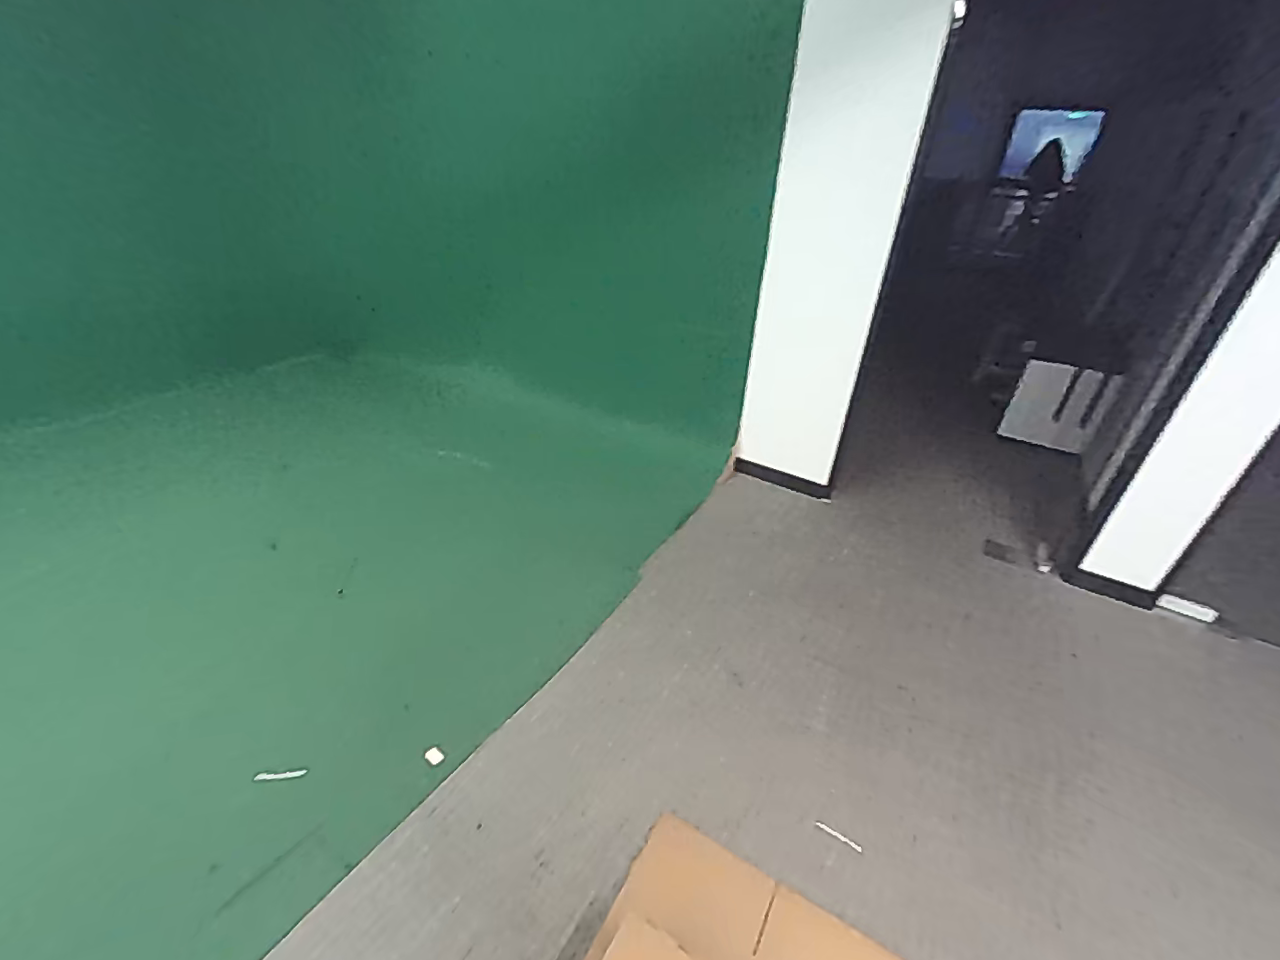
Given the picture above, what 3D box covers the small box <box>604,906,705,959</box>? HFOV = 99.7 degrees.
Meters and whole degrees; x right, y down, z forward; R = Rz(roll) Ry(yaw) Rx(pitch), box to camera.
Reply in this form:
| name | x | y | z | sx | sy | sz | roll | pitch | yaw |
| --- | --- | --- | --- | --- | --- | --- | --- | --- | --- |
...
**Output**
| name | x | y | z | sx | sy | sz | roll | pitch | yaw |
| --- | --- | --- | --- | --- | --- | --- | --- | --- | --- |
| small box | 0.008 | 0.932 | 0.967 | 0.168 | 0.176 | 0.179 | 19 | 37 | 26 |
